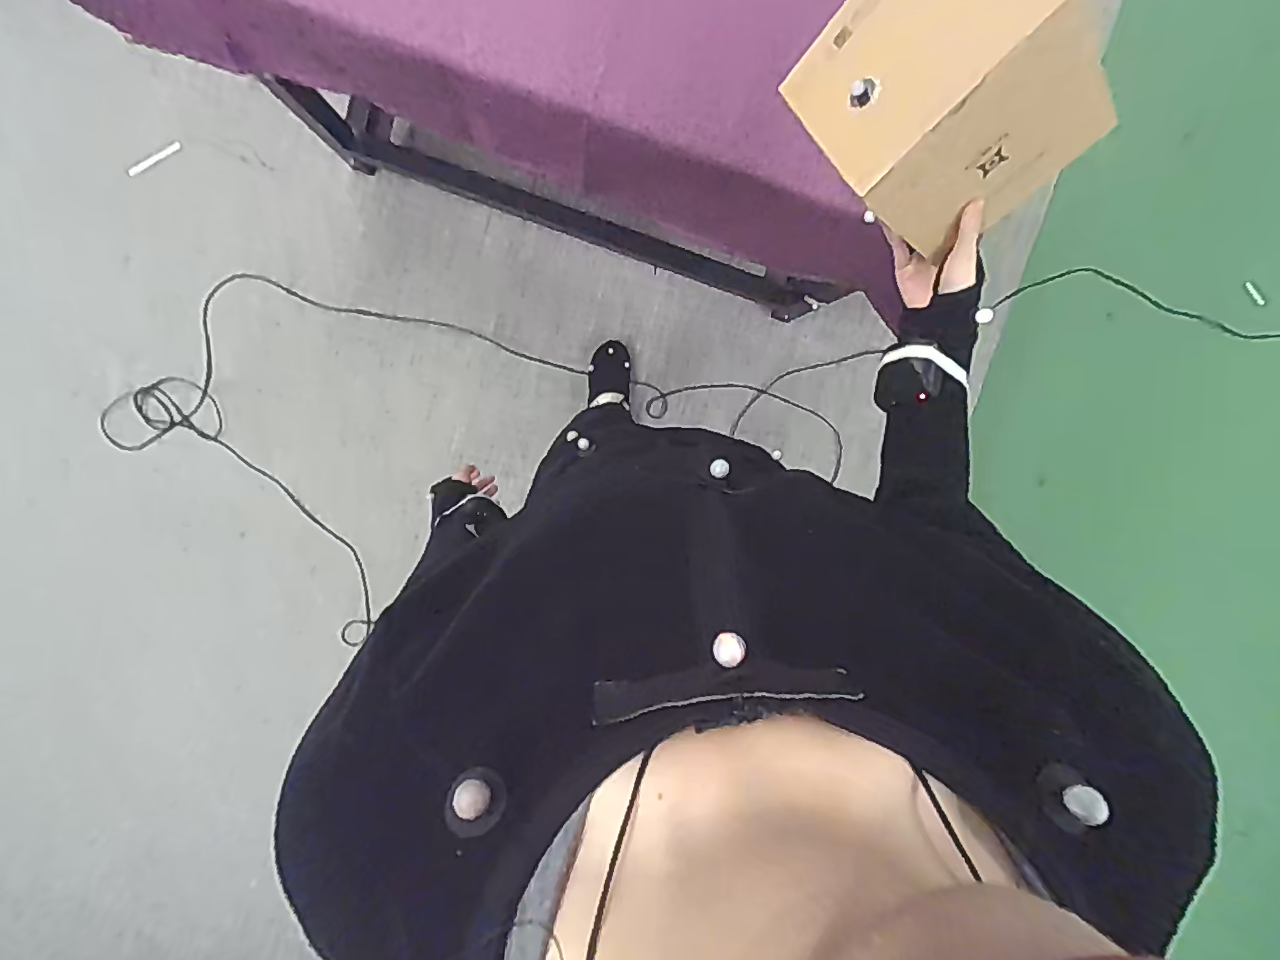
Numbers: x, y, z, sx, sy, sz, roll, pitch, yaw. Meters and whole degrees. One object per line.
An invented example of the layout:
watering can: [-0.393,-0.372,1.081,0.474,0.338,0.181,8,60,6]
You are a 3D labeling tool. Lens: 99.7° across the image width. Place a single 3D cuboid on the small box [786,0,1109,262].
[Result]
small box: [0.264,-0.341,0.487,0.168,0.179,0.176,-41,58,38]
